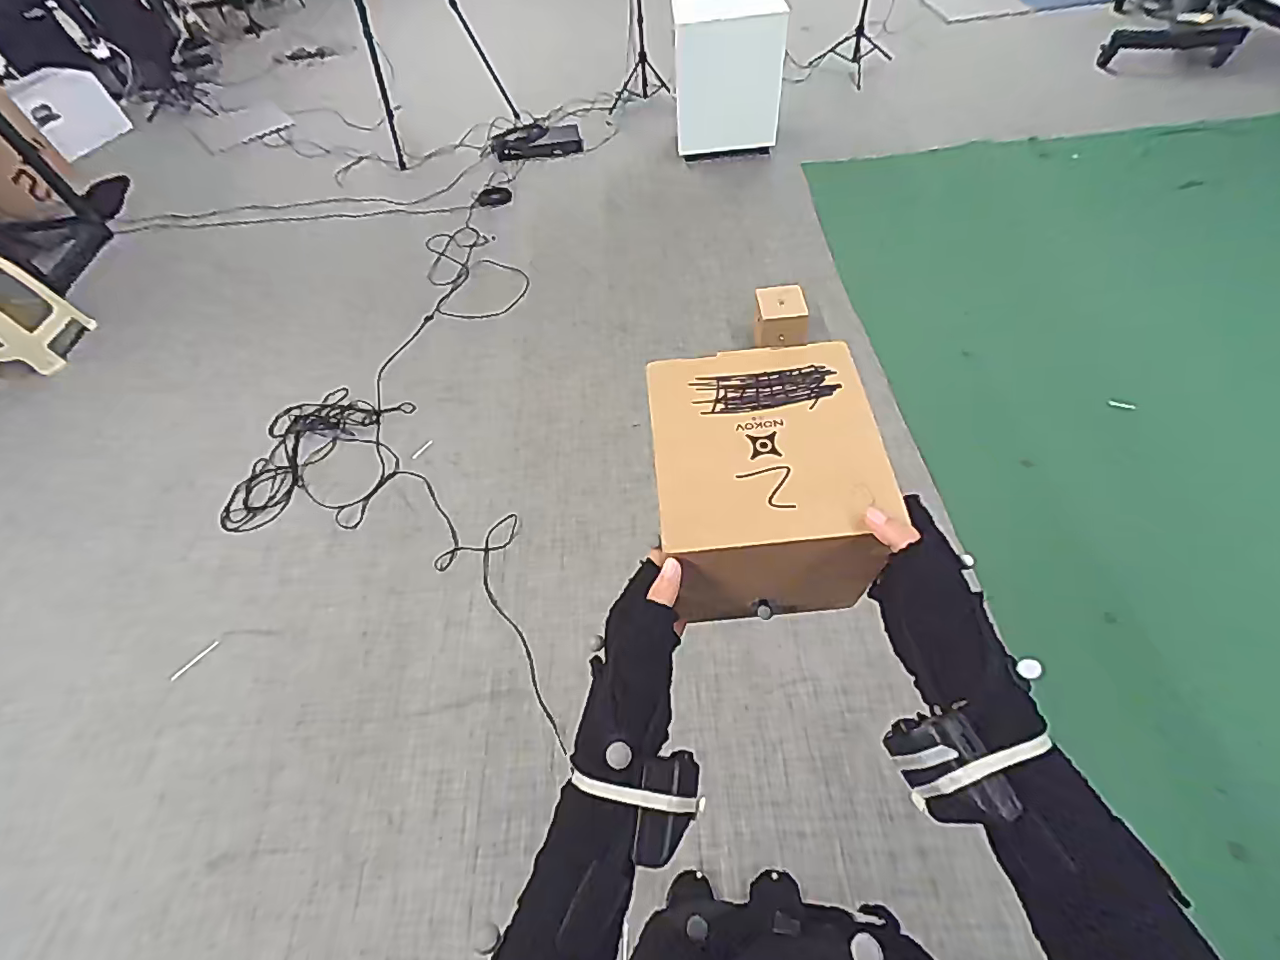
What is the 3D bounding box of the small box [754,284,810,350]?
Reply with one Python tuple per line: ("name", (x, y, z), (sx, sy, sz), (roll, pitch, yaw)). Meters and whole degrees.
("small box", (0.527, -0.602, 2.024), (0.168, 0.176, 0.179), (-4, 55, 3))
